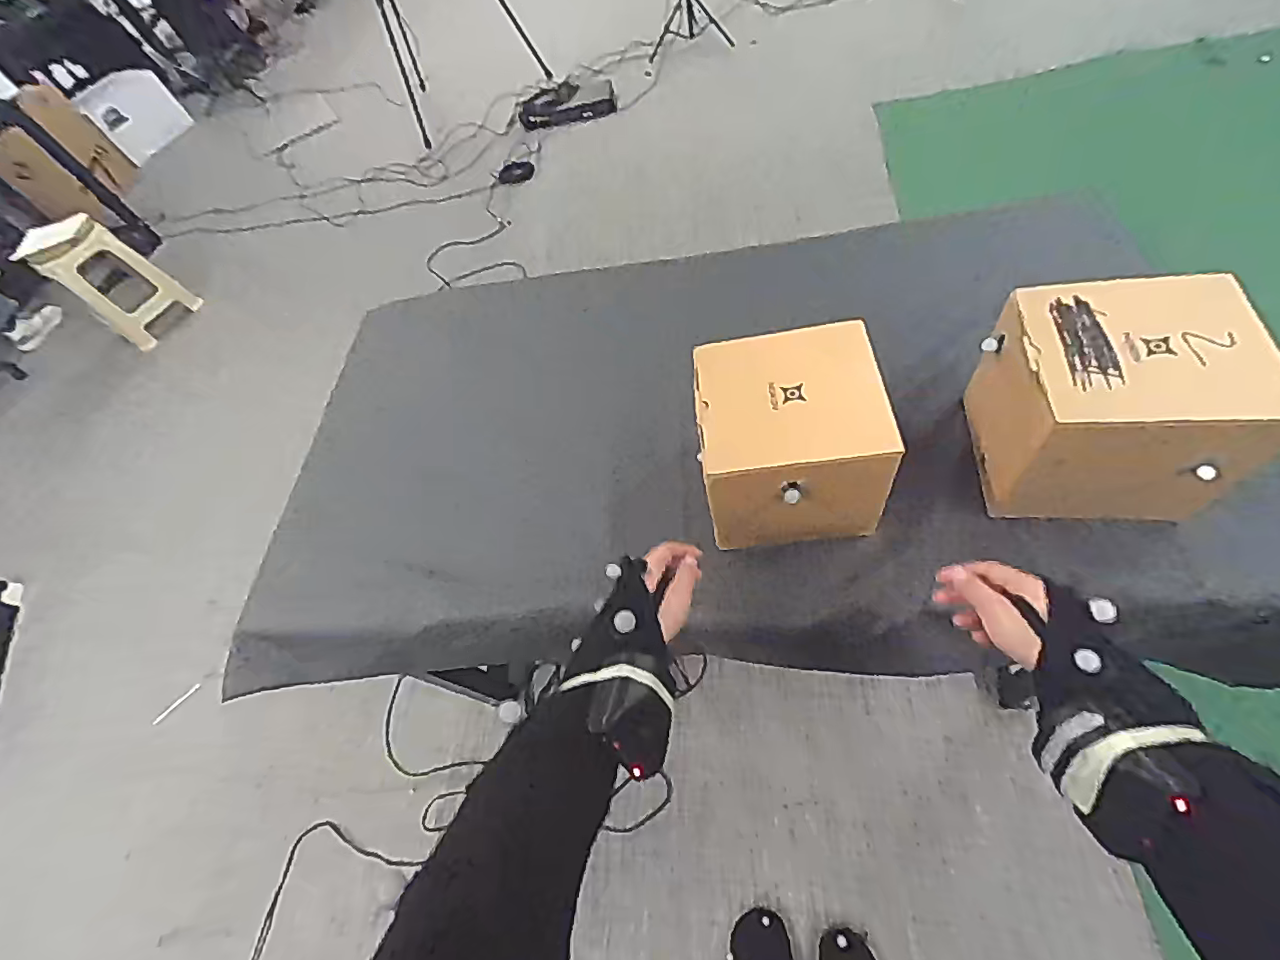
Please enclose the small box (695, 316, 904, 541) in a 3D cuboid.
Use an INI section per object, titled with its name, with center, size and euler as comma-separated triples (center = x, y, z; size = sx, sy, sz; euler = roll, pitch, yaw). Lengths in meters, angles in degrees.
[small box]
center = 0.159, -0.046, 0.586
size = 0.179, 0.176, 0.168
euler = -7, 58, 11
